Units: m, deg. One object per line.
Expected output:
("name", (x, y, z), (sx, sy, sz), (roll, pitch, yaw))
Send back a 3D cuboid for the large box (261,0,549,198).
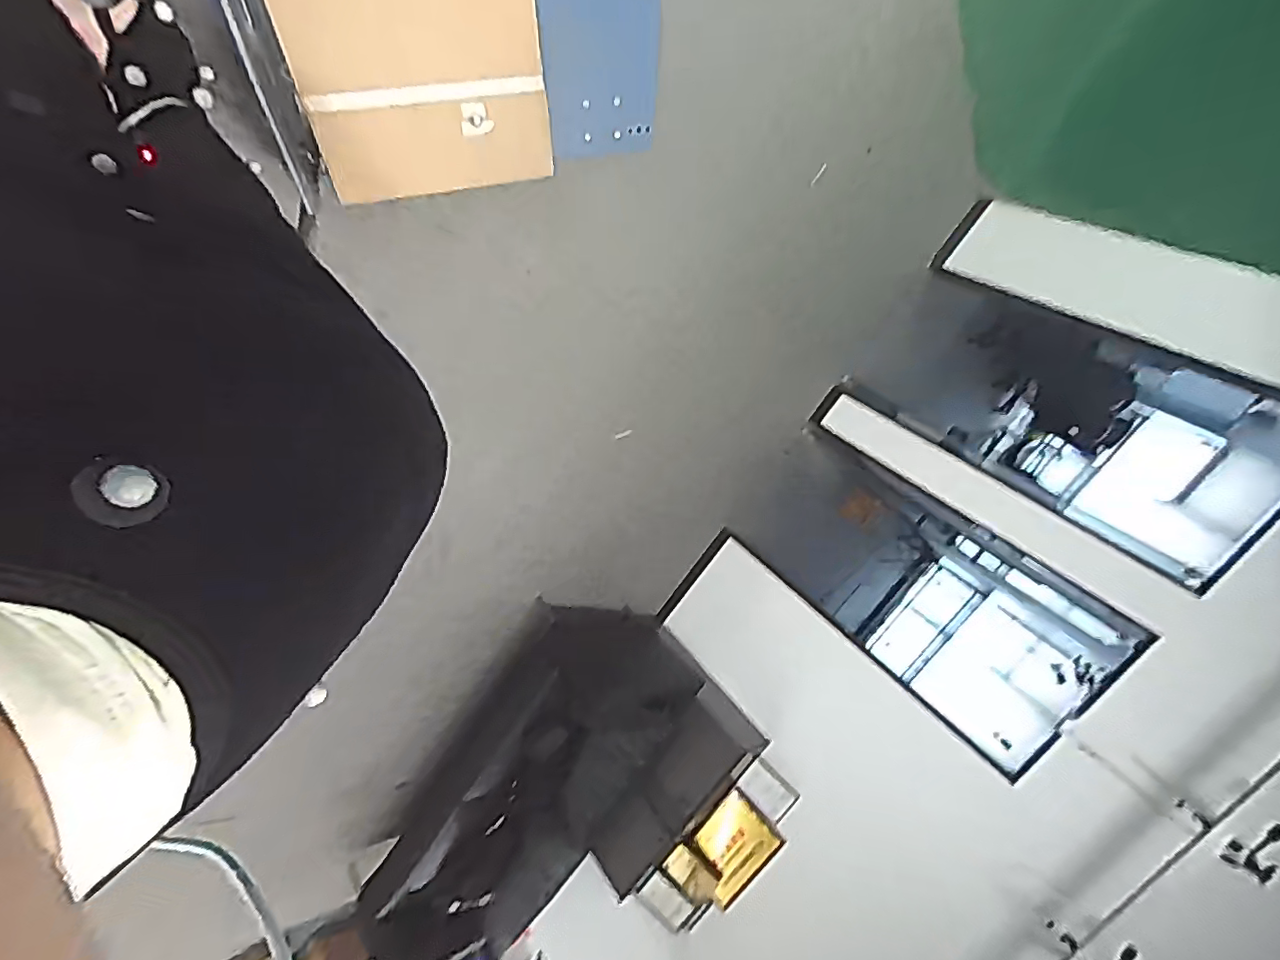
("large box", (-0.425, -0.761, 1.003), (0.408, 0.320, 0.320), (-19, 139, -18))
